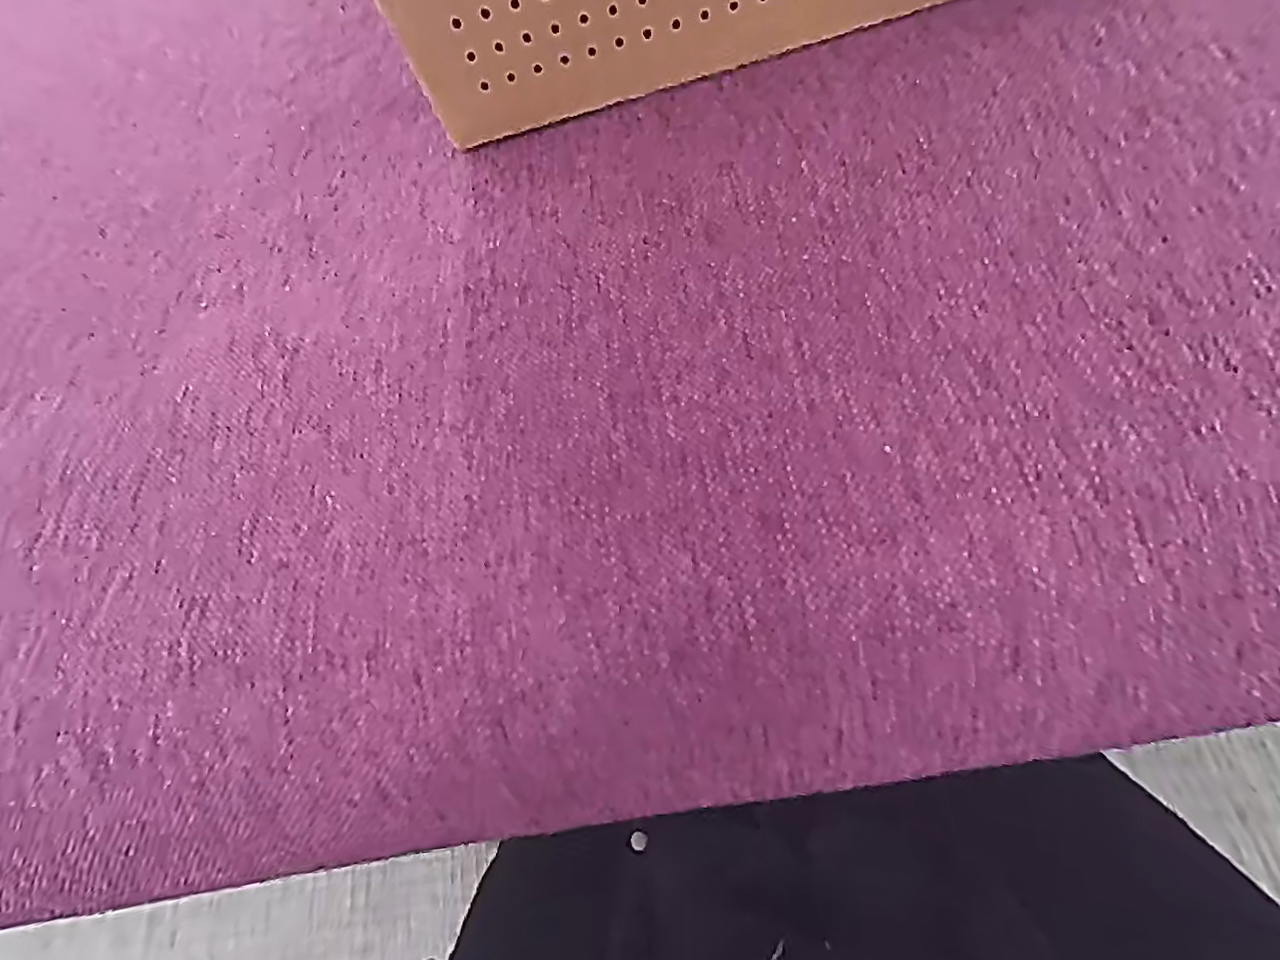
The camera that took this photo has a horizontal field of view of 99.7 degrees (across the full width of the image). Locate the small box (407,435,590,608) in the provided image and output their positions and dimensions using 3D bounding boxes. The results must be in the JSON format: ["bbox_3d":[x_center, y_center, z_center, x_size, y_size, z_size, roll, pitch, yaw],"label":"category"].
[{"bbox_3d":[-0.169,0.063,0.691,0.179,0.176,0.168,-13,71,6],"label":"small box"}]

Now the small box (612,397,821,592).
[{"bbox_3d":[0.082,0.027,0.612,0.179,0.176,0.168,-15,80,4],"label":"small box"}]
